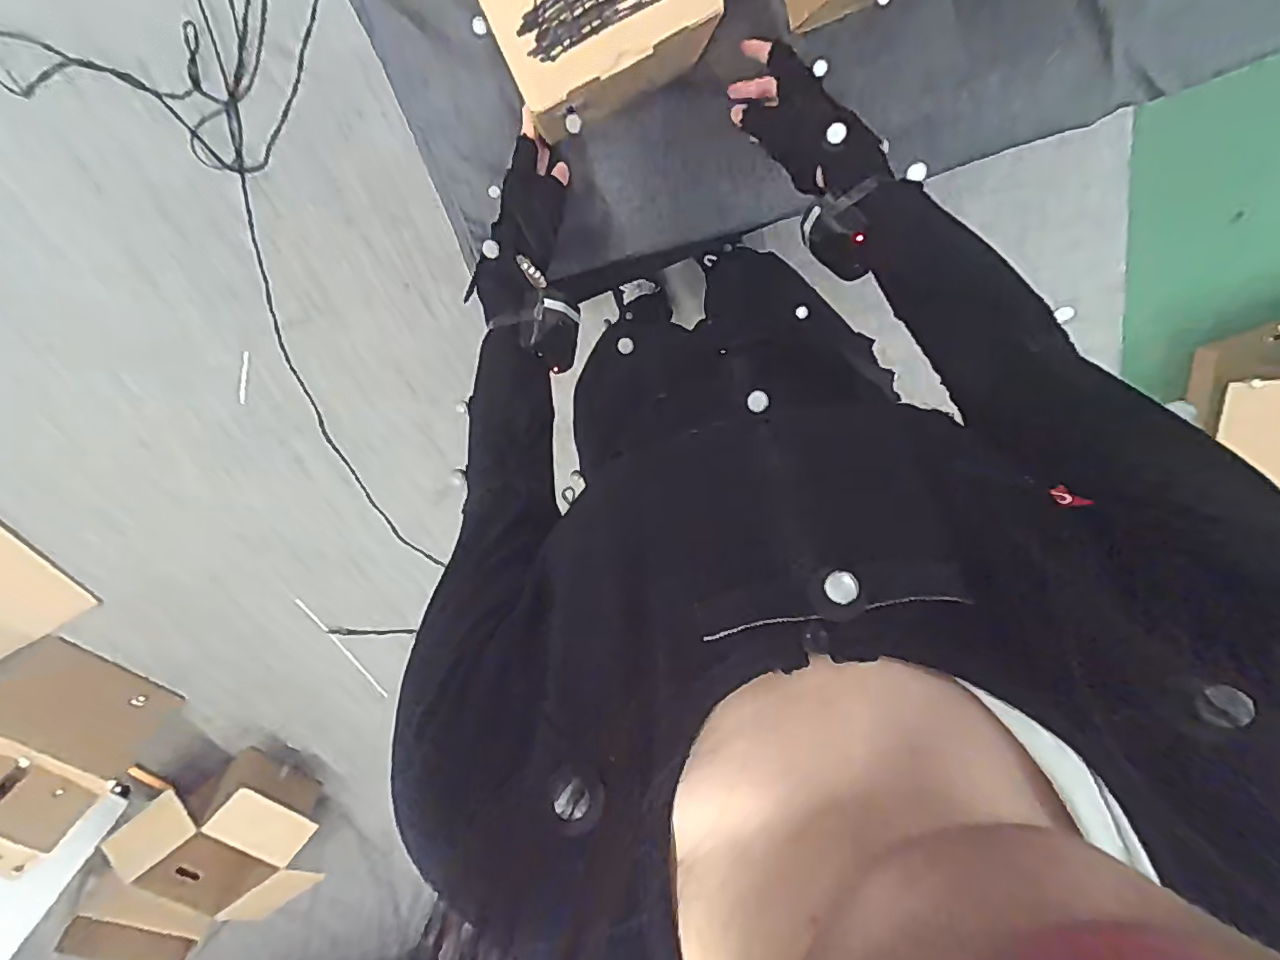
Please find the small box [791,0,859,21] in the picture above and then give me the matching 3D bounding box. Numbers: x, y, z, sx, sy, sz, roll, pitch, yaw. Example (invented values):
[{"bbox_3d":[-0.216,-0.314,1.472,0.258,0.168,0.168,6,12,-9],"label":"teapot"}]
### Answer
[{"bbox_3d":[0.209,-0.520,0.429,0.168,0.176,0.179,-20,117,4],"label":"small box"}]
